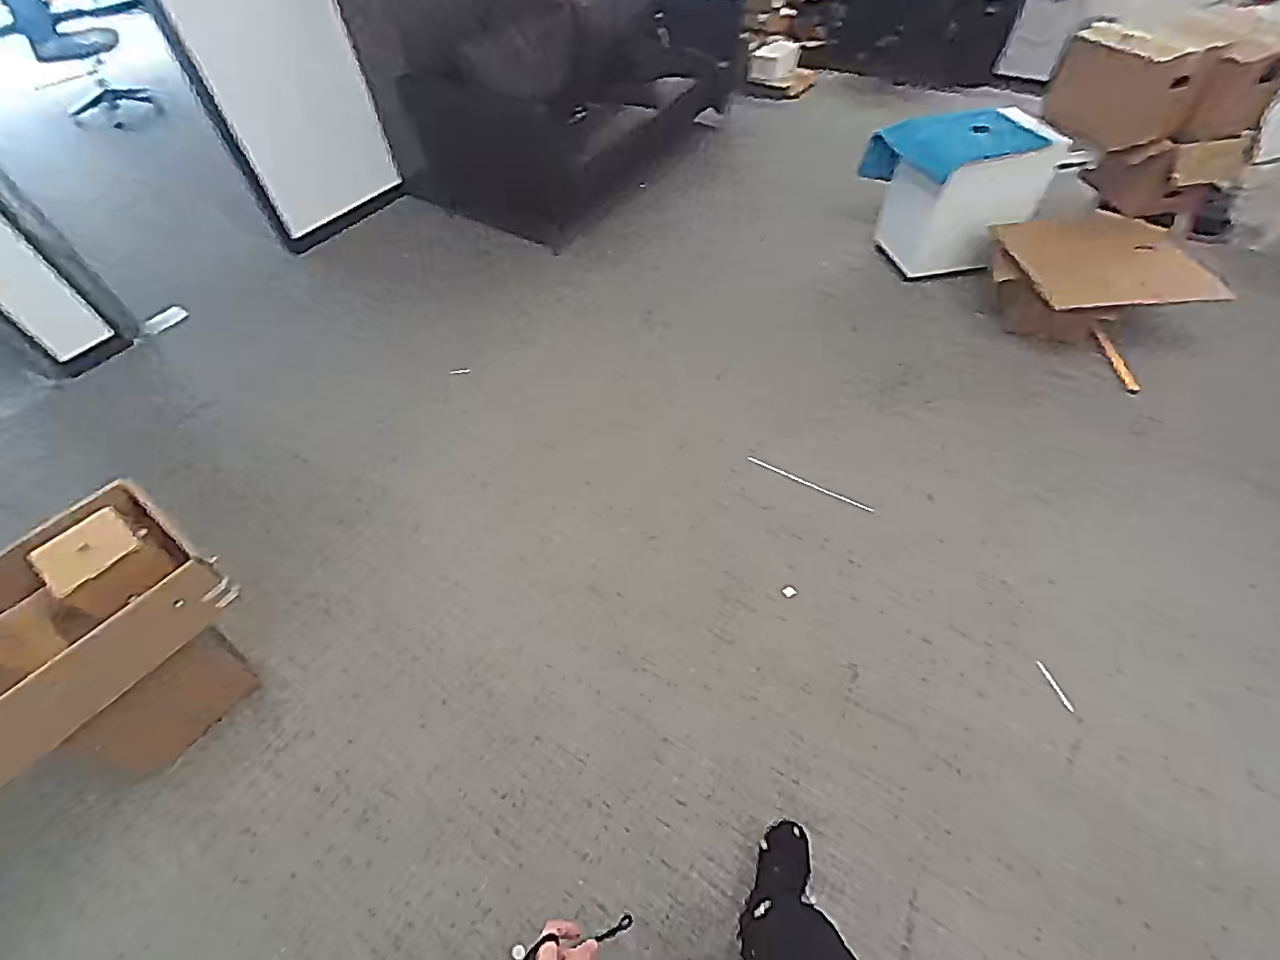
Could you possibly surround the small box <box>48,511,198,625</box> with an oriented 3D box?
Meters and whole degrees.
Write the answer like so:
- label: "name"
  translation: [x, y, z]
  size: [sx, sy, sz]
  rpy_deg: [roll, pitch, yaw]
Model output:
- label: "small box"
  translation: [-1.220, 0.213, 1.286]
  size: [0.179, 0.176, 0.168]
  rpy_deg: [31, 60, 23]
